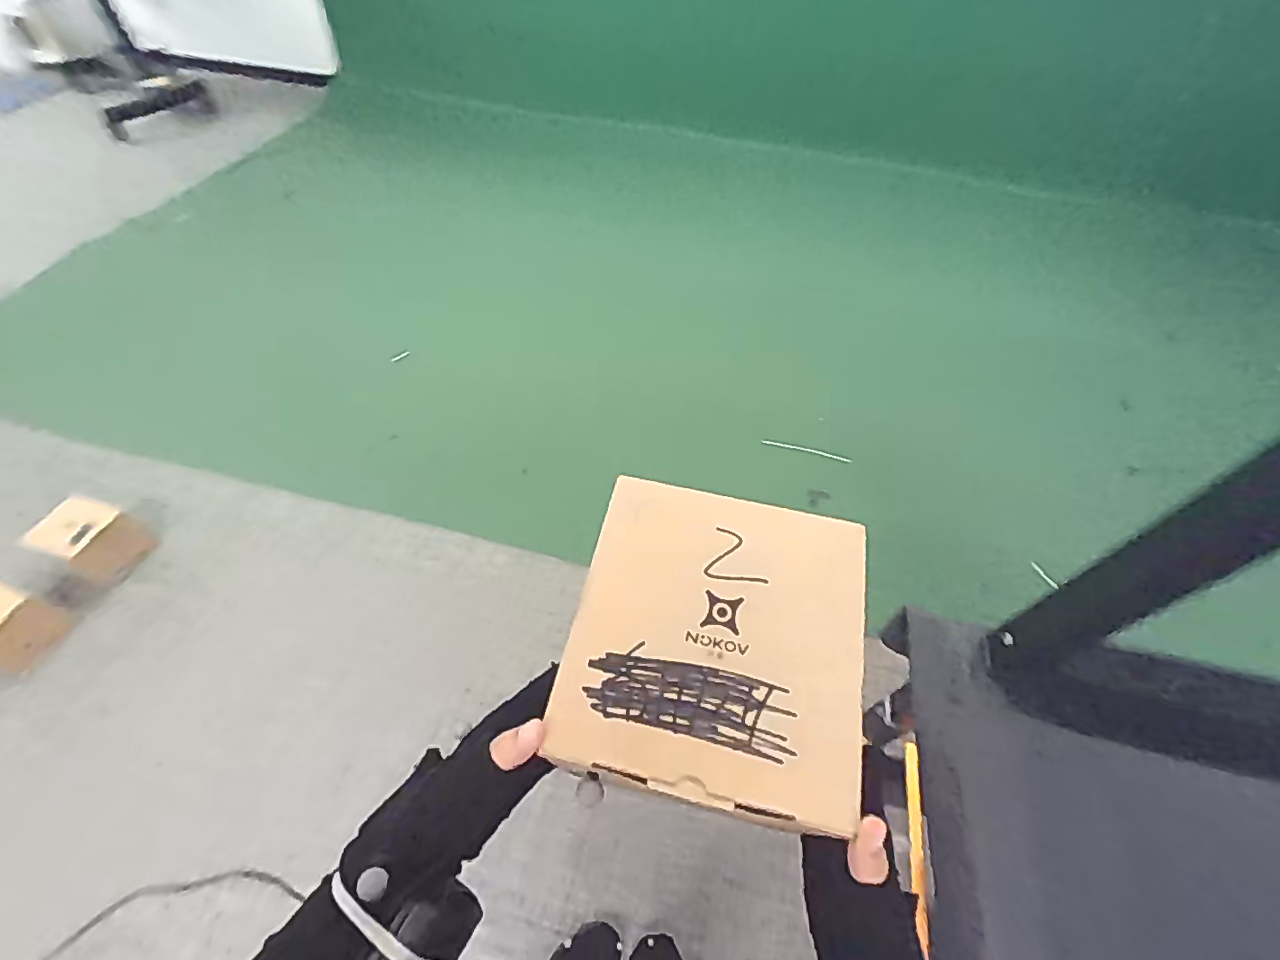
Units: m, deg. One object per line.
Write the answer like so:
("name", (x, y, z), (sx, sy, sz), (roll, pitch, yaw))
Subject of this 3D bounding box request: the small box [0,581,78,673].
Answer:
("small box", (-1.624, 0.370, 1.374), (0.179, 0.176, 0.168), (16, 53, 8))

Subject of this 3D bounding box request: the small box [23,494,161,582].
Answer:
("small box", (-1.535, 0.170, 1.531), (0.179, 0.176, 0.168), (15, 53, 8))
